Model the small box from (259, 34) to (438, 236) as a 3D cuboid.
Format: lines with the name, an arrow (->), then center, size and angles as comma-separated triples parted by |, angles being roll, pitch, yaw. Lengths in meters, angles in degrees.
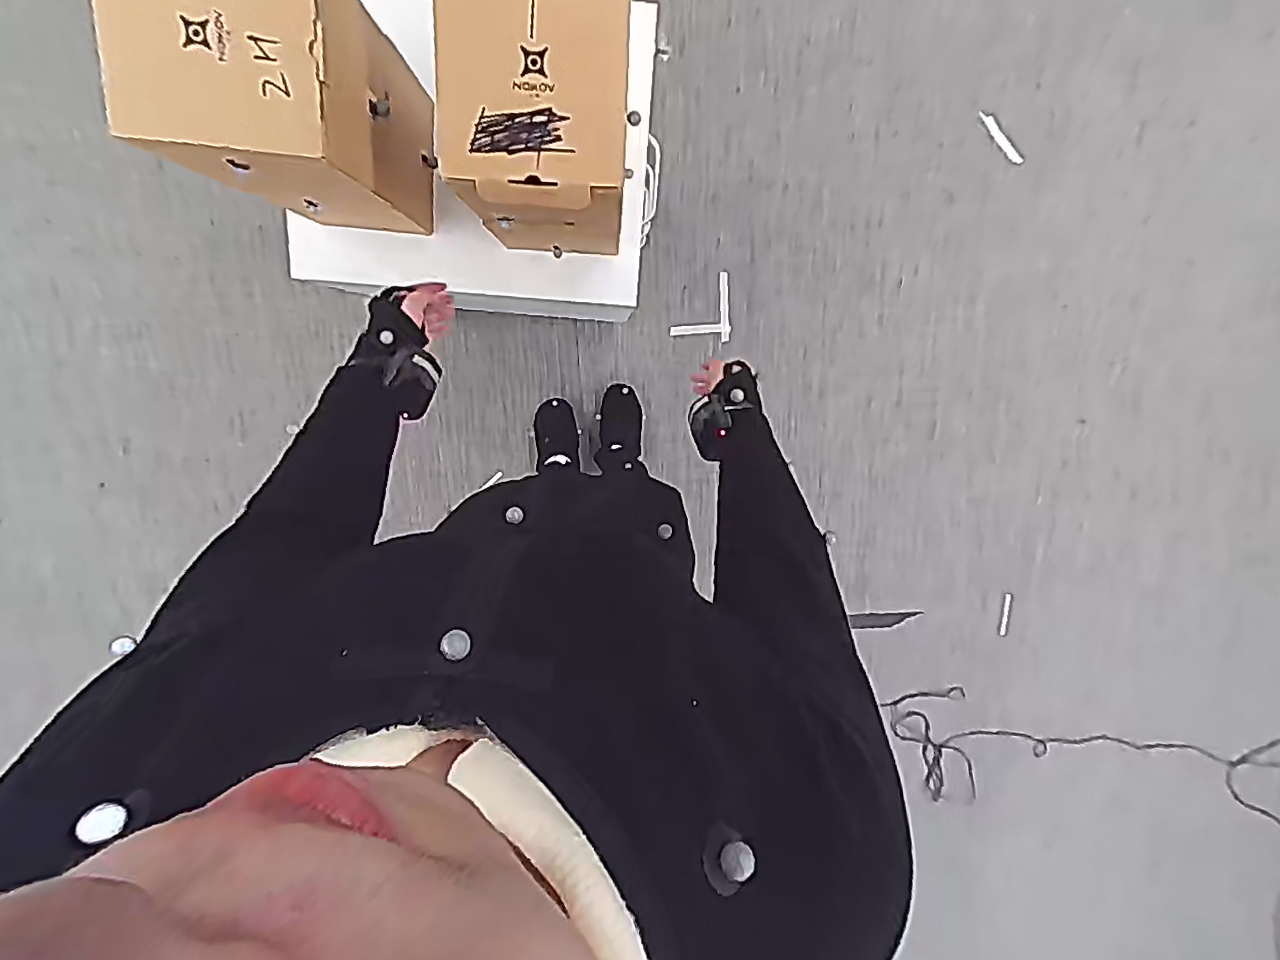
small box -> -0.362, -0.425, 0.677 | 0.168, 0.176, 0.179 | 5, 103, -4

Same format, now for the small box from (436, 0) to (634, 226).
small box -> -0.093, -0.365, 0.539 | 0.168, 0.176, 0.179 | 2, 103, -4

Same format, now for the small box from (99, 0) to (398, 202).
small box -> -0.353, -0.381, 0.518 | 0.179, 0.176, 0.168 | 4, 105, -5
